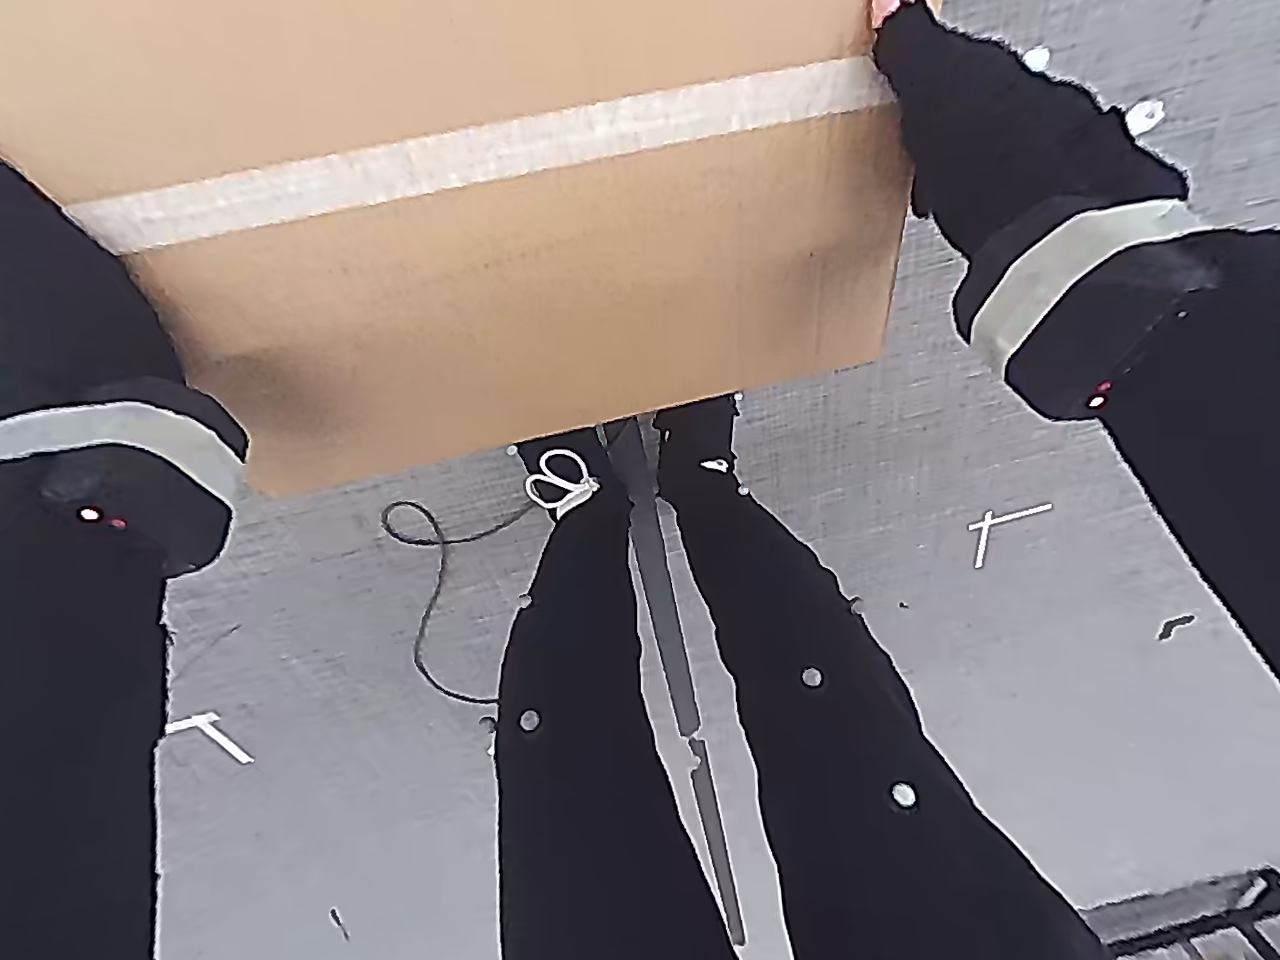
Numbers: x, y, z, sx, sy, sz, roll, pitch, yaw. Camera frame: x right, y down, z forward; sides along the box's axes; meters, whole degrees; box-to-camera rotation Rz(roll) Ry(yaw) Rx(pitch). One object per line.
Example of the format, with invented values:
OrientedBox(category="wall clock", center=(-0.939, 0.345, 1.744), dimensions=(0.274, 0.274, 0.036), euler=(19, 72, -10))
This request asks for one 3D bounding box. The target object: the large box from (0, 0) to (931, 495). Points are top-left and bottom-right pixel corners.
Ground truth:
OrientedBox(category="large box", center=(-0.085, -0.242, 0.376), dimensions=(0.408, 0.320, 0.320), euler=(-14, 130, -5))
